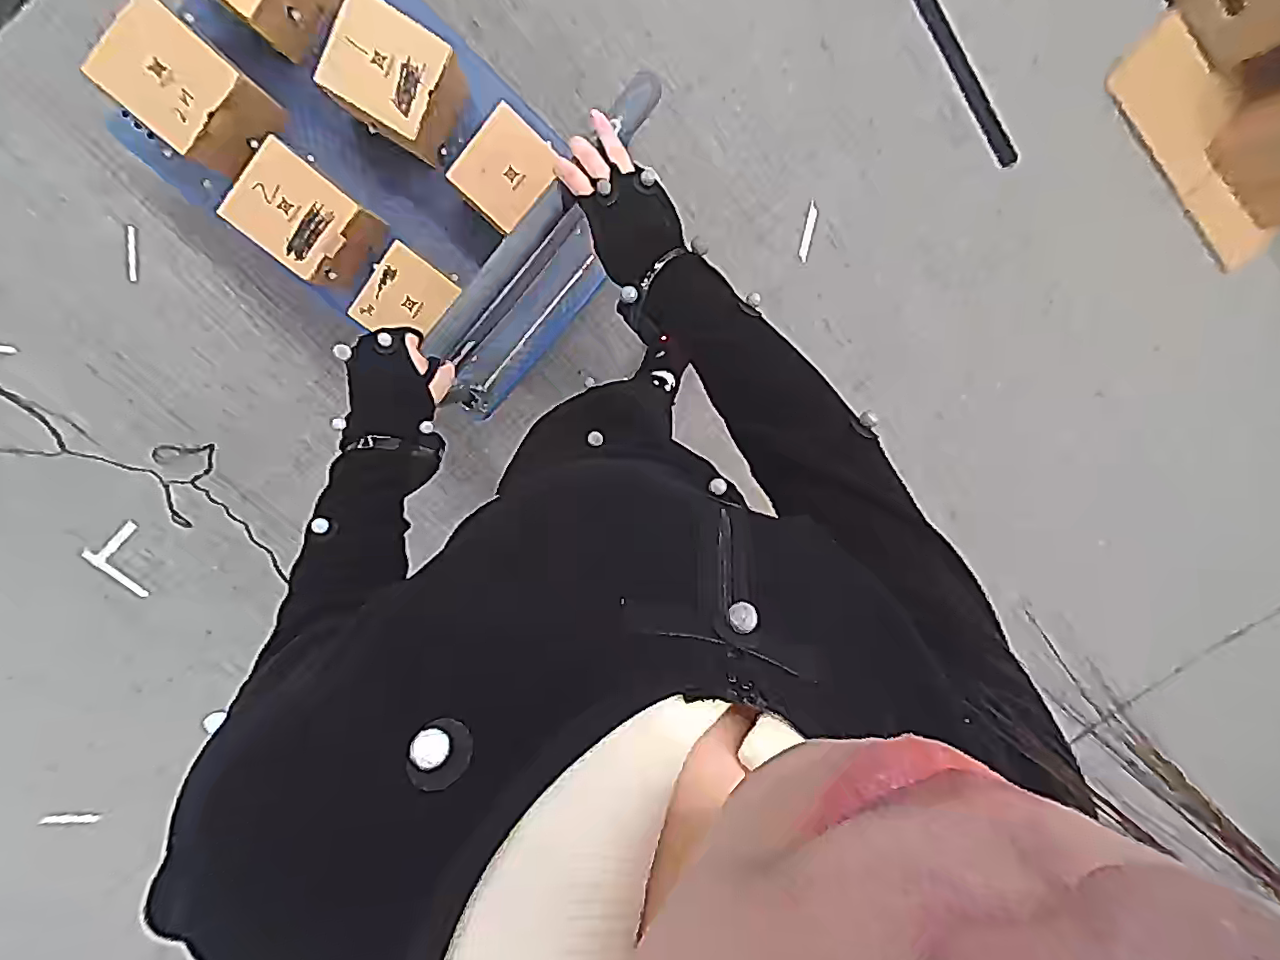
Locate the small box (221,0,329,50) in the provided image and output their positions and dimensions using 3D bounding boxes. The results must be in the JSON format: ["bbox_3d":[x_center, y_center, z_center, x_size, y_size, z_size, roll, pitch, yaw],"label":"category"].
[{"bbox_3d":[-0.652,-0.874,0.903,0.179,0.176,0.168,36,98,-15],"label":"small box"}]

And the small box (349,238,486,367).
[{"bbox_3d":[-0.428,-0.346,1.075,0.179,0.176,0.168,36,97,-15],"label":"small box"}]

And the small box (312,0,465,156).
[{"bbox_3d":[-0.438,-0.720,0.973,0.179,0.176,0.168,27,100,-13],"label":"small box"}]

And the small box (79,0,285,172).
[{"bbox_3d":[-0.776,-0.677,0.938,0.179,0.176,0.168,41,97,-16],"label":"small box"}]

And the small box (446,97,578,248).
[{"bbox_3d":[-0.237,-0.573,1.041,0.179,0.176,0.168,40,96,-15],"label":"small box"}]
